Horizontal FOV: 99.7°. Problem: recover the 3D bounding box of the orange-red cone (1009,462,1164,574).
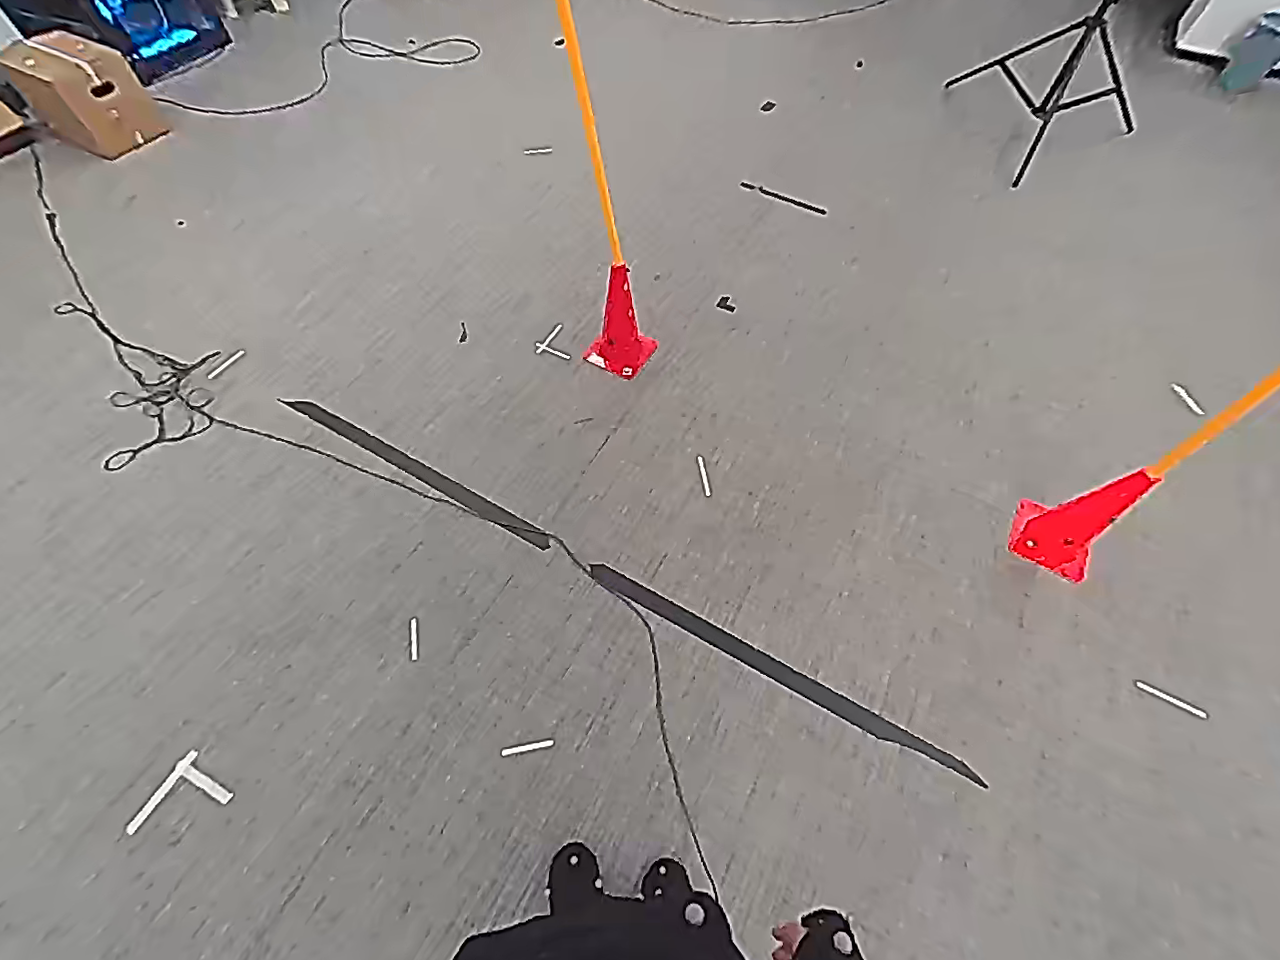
[{"bbox_3d":[1.159,0.061,1.367,0.199,0.360,0.198,29,64,15],"label":"orange-red cone"}]
